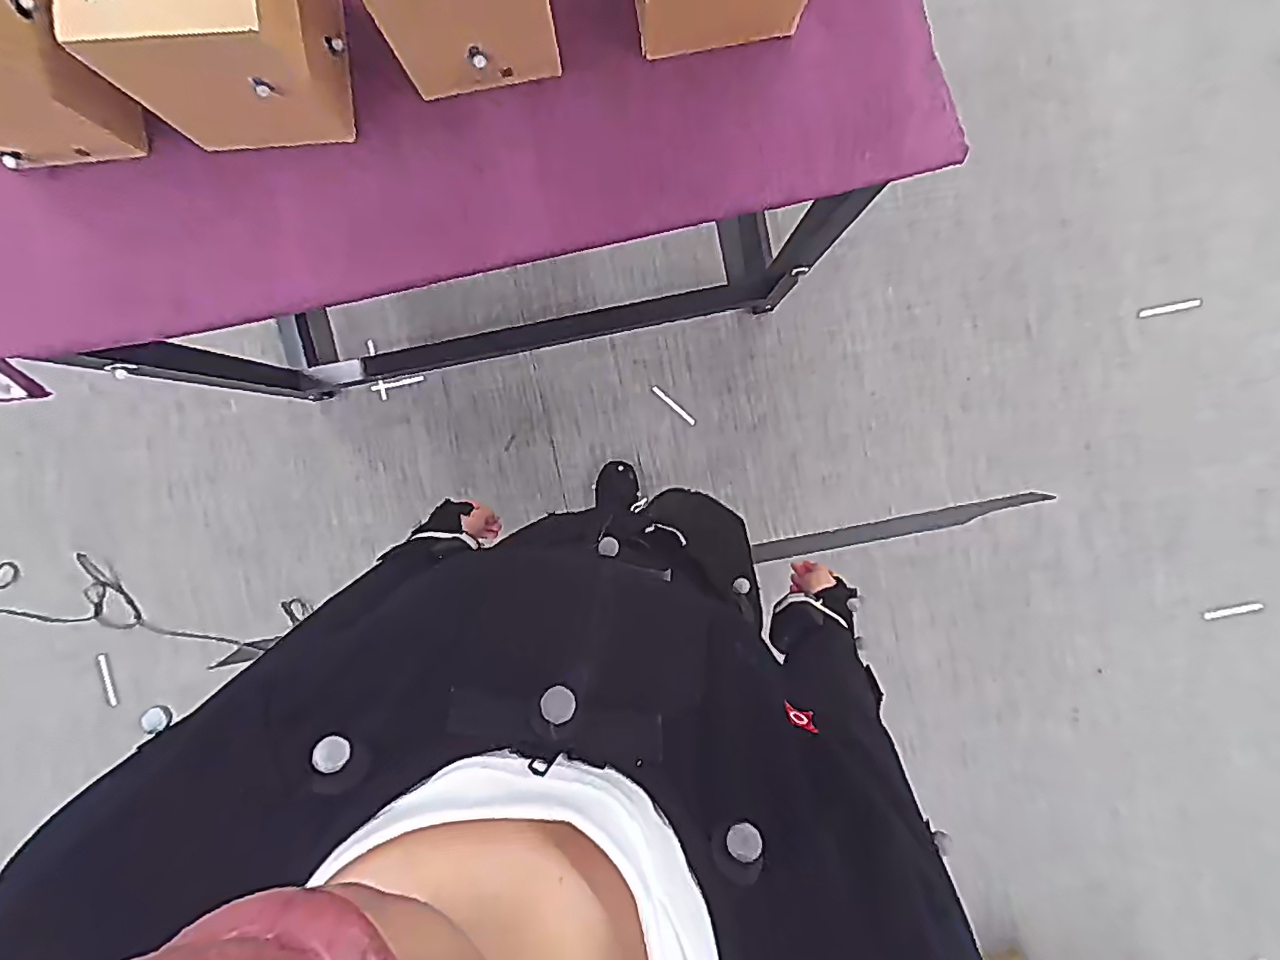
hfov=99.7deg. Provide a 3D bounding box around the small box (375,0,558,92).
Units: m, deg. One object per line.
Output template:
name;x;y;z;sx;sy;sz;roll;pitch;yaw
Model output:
small box;-0.186;-0.539;0.538;0.168;0.176;0.179;-10;93;1

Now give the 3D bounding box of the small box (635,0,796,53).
small box;0.078;-0.577;0.537;0.179;0.176;0.168;-10;91;0

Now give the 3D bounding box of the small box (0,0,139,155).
small box;-0.656;-0.452;0.538;0.168;0.176;0.179;-6;93;-1
